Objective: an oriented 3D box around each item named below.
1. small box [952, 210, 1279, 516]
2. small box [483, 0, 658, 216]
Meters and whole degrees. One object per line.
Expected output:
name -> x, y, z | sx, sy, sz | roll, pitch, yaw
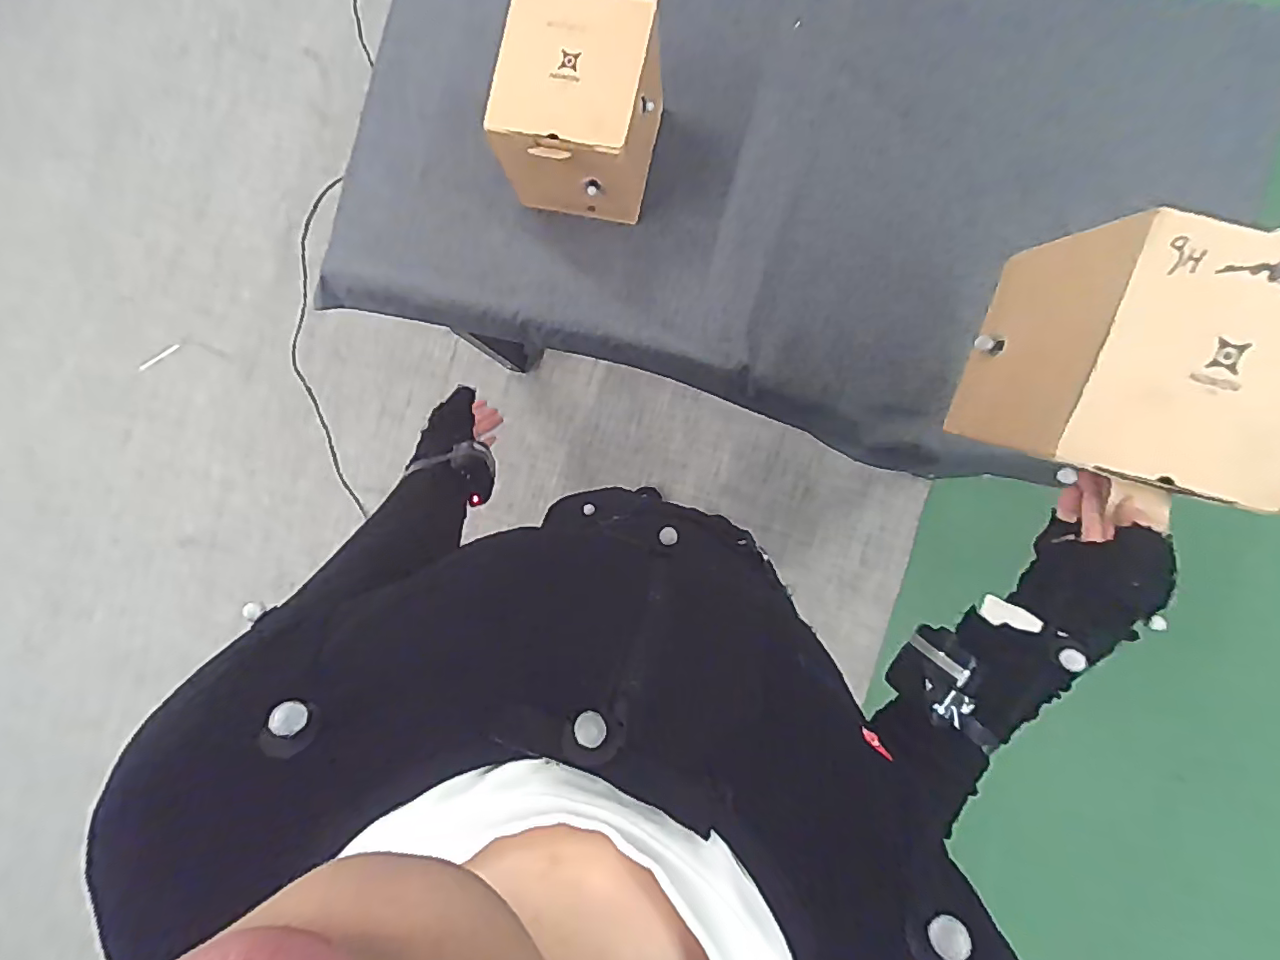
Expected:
small box -> 0.398, -0.093, 0.450 | 0.168, 0.176, 0.179 | 15, 104, 0
small box -> -0.073, -0.463, 0.677 | 0.168, 0.176, 0.179 | 12, 89, 4
